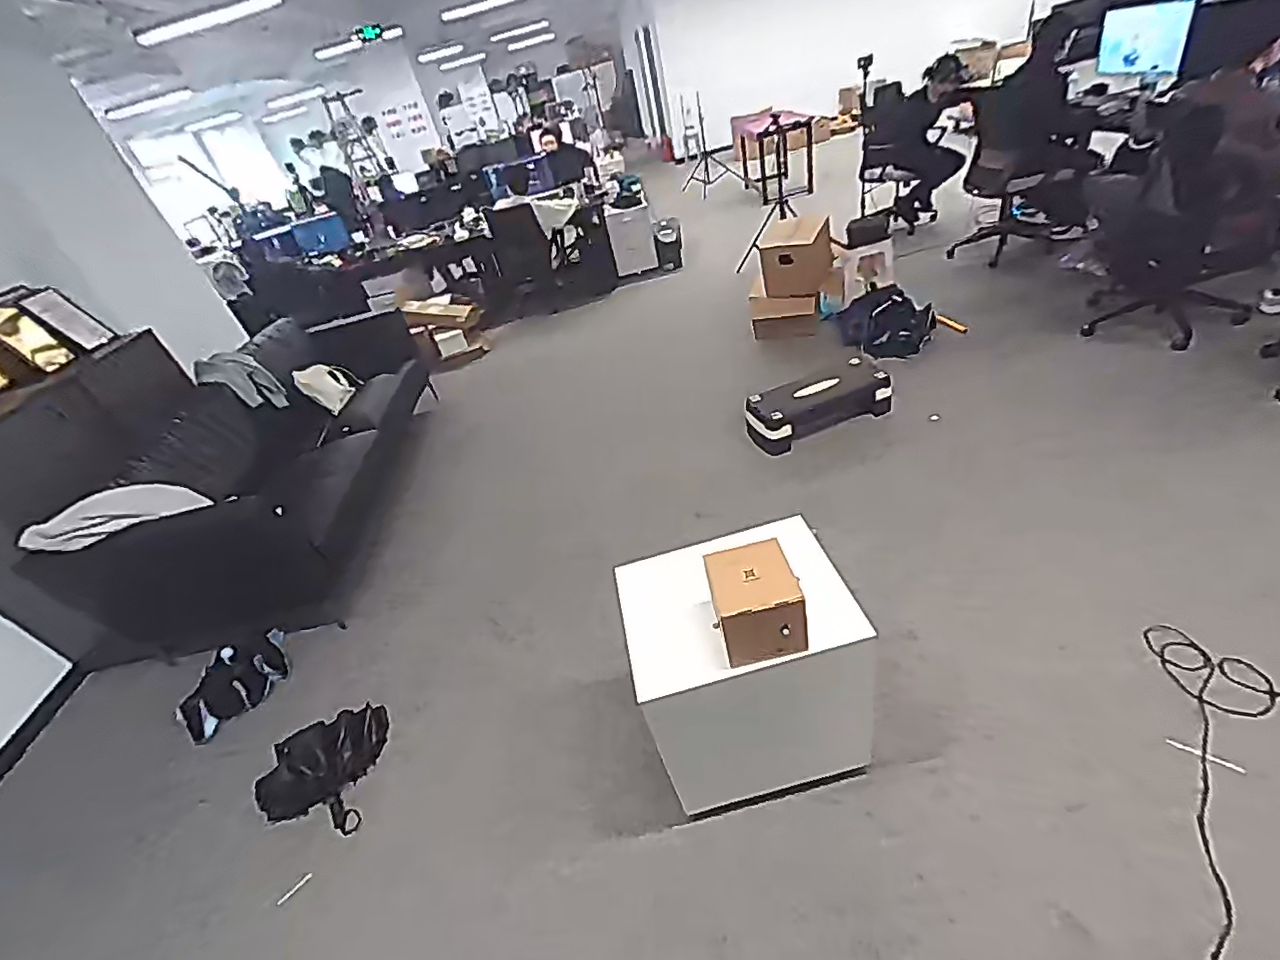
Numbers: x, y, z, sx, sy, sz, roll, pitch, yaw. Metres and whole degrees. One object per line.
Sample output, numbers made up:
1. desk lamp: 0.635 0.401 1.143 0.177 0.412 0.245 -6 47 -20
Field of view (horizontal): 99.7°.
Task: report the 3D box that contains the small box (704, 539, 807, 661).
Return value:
1. small box: 0.242 0.256 1.133 0.168 0.176 0.179 -13 34 2
